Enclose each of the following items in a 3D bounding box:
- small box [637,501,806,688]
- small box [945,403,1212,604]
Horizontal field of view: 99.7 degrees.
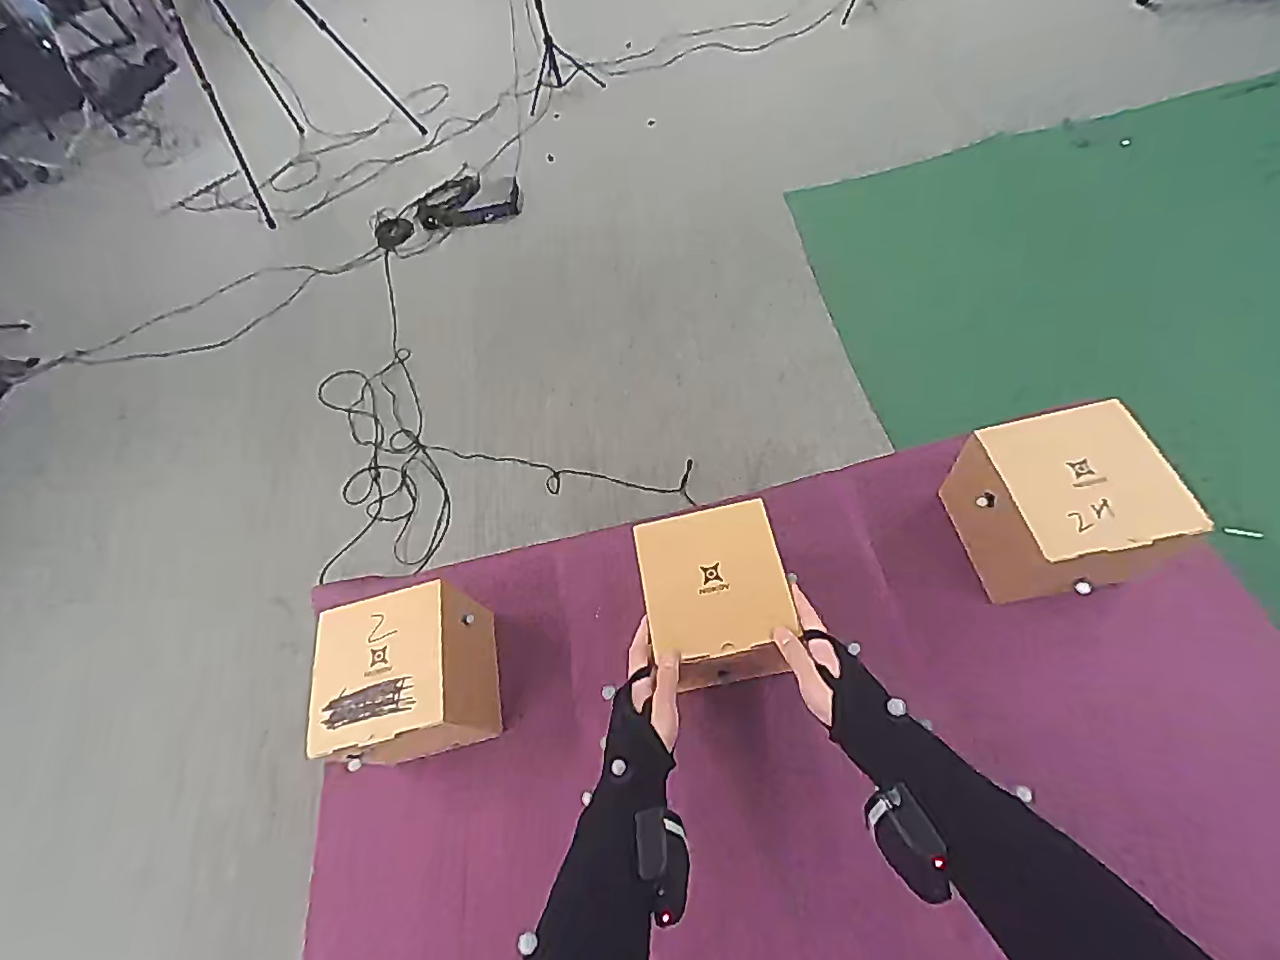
[{"bbox_3d":[0.098,0.152,0.692,0.168,0.176,0.179,-13,61,4],"label":"small box"},{"bbox_3d":[0.510,0.036,0.670,0.168,0.176,0.179,-13,60,7],"label":"small box"}]
